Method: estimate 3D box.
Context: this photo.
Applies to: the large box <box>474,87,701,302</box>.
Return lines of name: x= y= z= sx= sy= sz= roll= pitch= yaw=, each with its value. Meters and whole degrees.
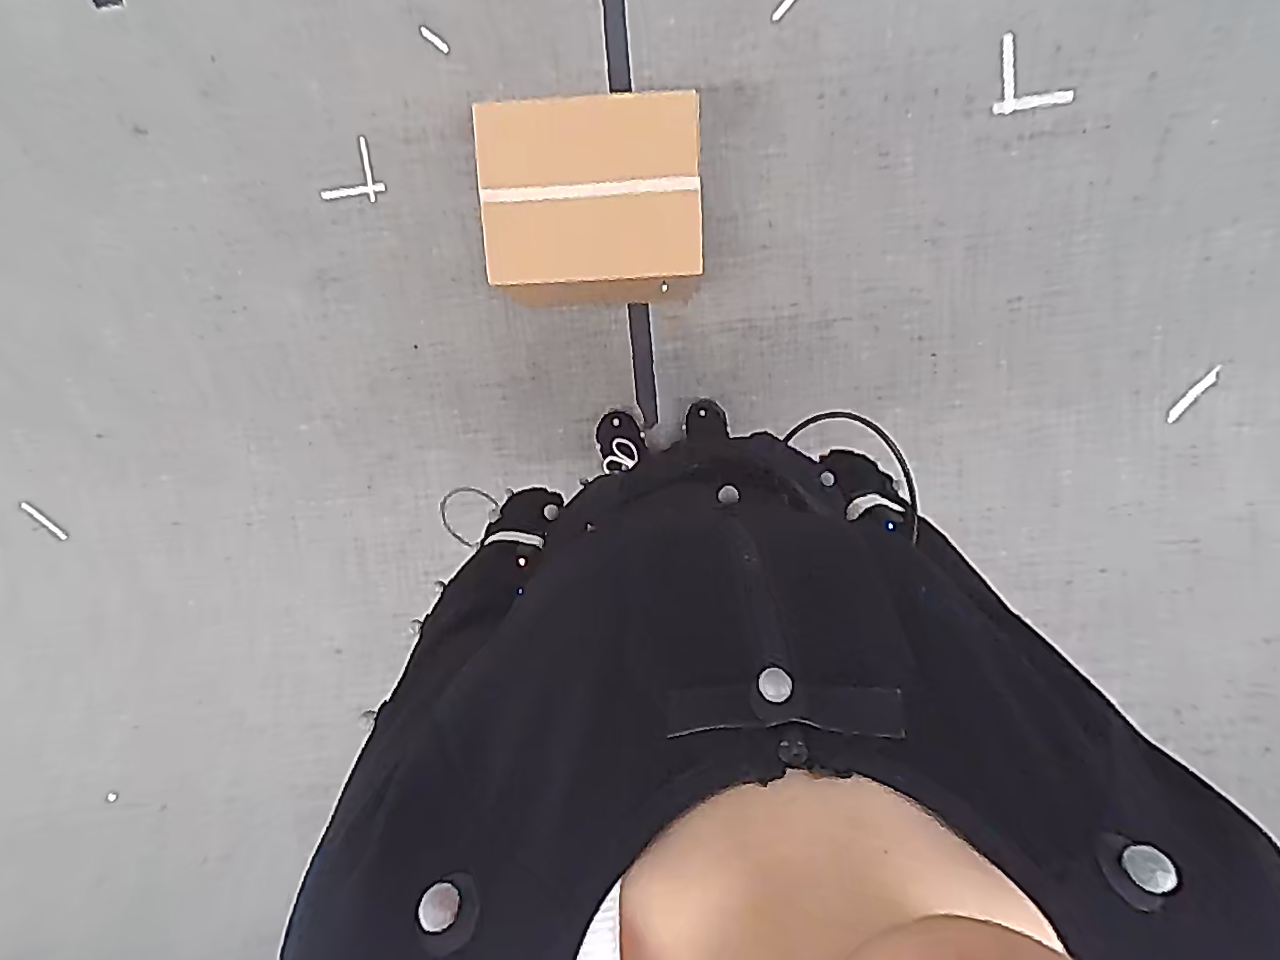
large box: x=-0.088 y=-0.560 z=1.132 sx=0.408 sy=0.320 sz=0.320 roll=-3 pitch=100 yaw=2
